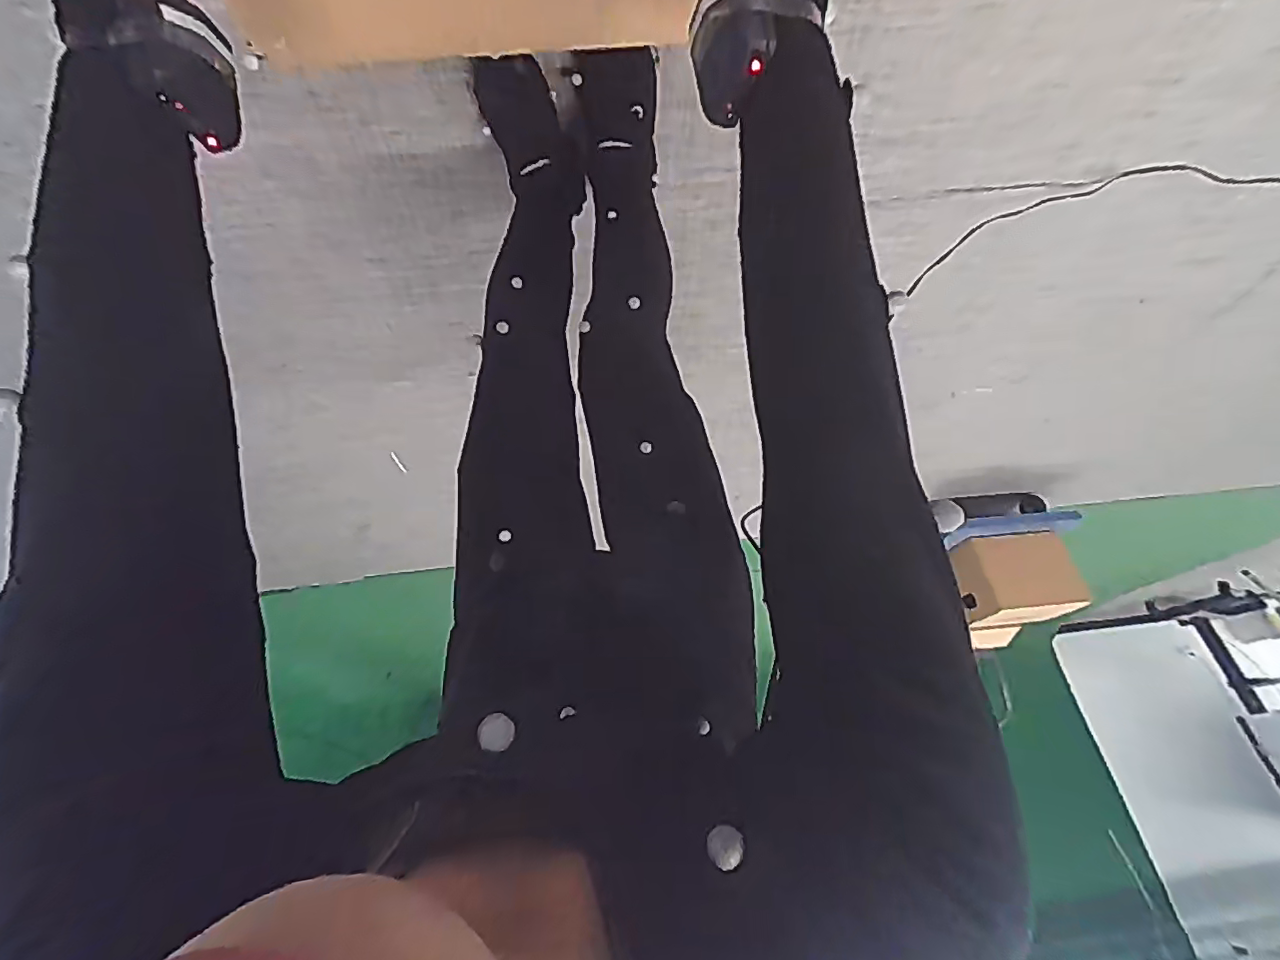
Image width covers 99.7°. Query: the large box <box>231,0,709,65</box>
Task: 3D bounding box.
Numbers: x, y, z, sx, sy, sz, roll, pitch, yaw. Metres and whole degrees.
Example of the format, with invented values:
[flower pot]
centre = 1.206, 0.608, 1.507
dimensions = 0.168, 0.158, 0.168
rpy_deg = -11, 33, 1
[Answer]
[large box]
centre = -0.149, -0.585, 0.407
dimensions = 0.408, 0.320, 0.320
rpy_deg = -4, 156, 0
